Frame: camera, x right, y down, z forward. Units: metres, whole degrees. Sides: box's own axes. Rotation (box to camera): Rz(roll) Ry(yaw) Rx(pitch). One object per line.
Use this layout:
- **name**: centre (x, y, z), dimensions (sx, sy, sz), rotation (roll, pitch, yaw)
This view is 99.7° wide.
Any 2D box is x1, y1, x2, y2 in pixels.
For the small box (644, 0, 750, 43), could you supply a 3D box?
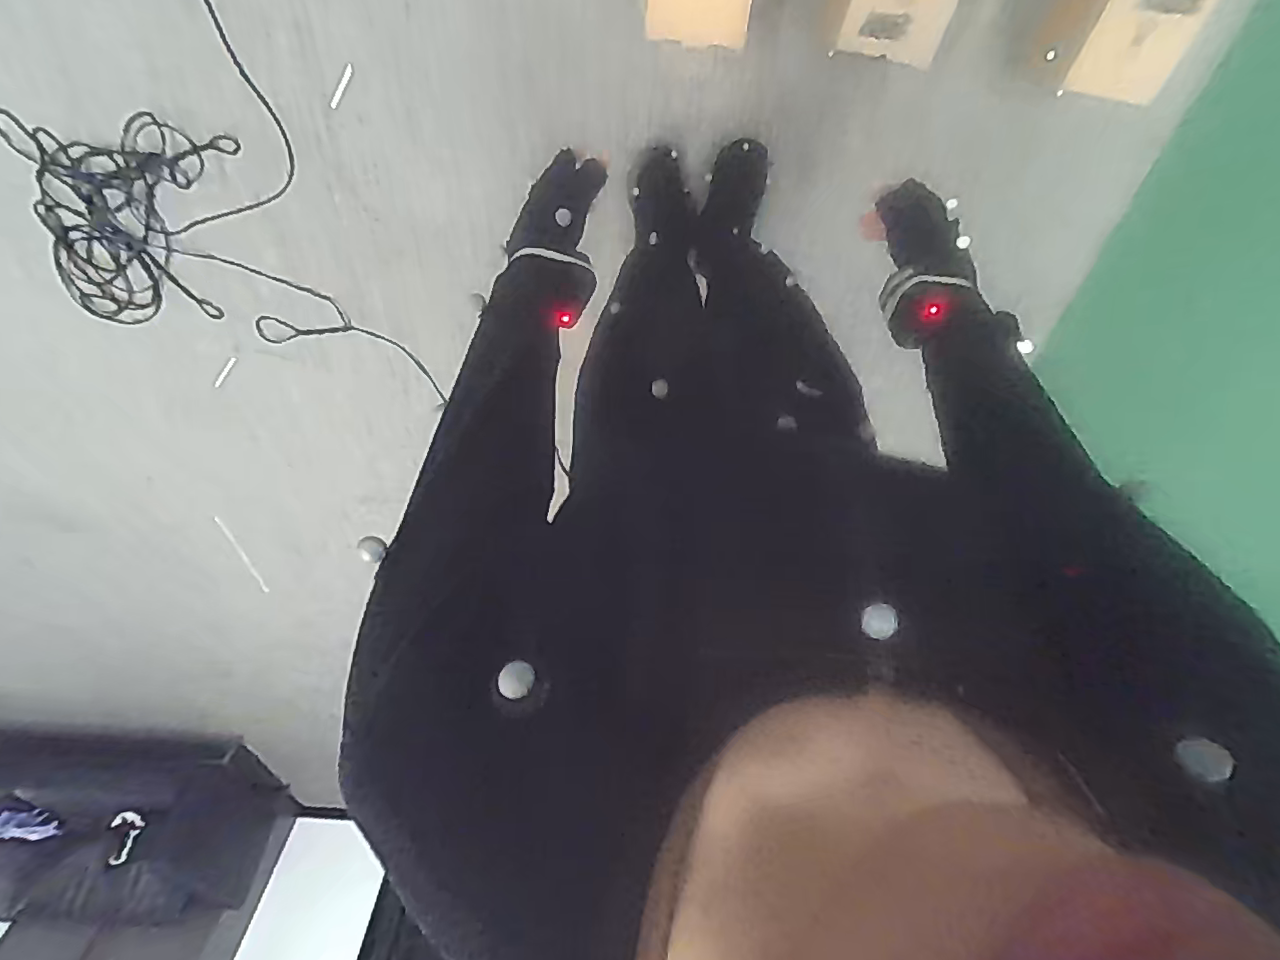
- **small box**: centre (0.097, -0.838, 0.881), dimensions (0.168, 0.176, 0.179), rotation (5, 133, -1)

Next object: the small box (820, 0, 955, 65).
- **small box**: centre (0.411, -0.813, 0.884), dimensions (0.168, 0.176, 0.179), rotation (9, 131, -6)
